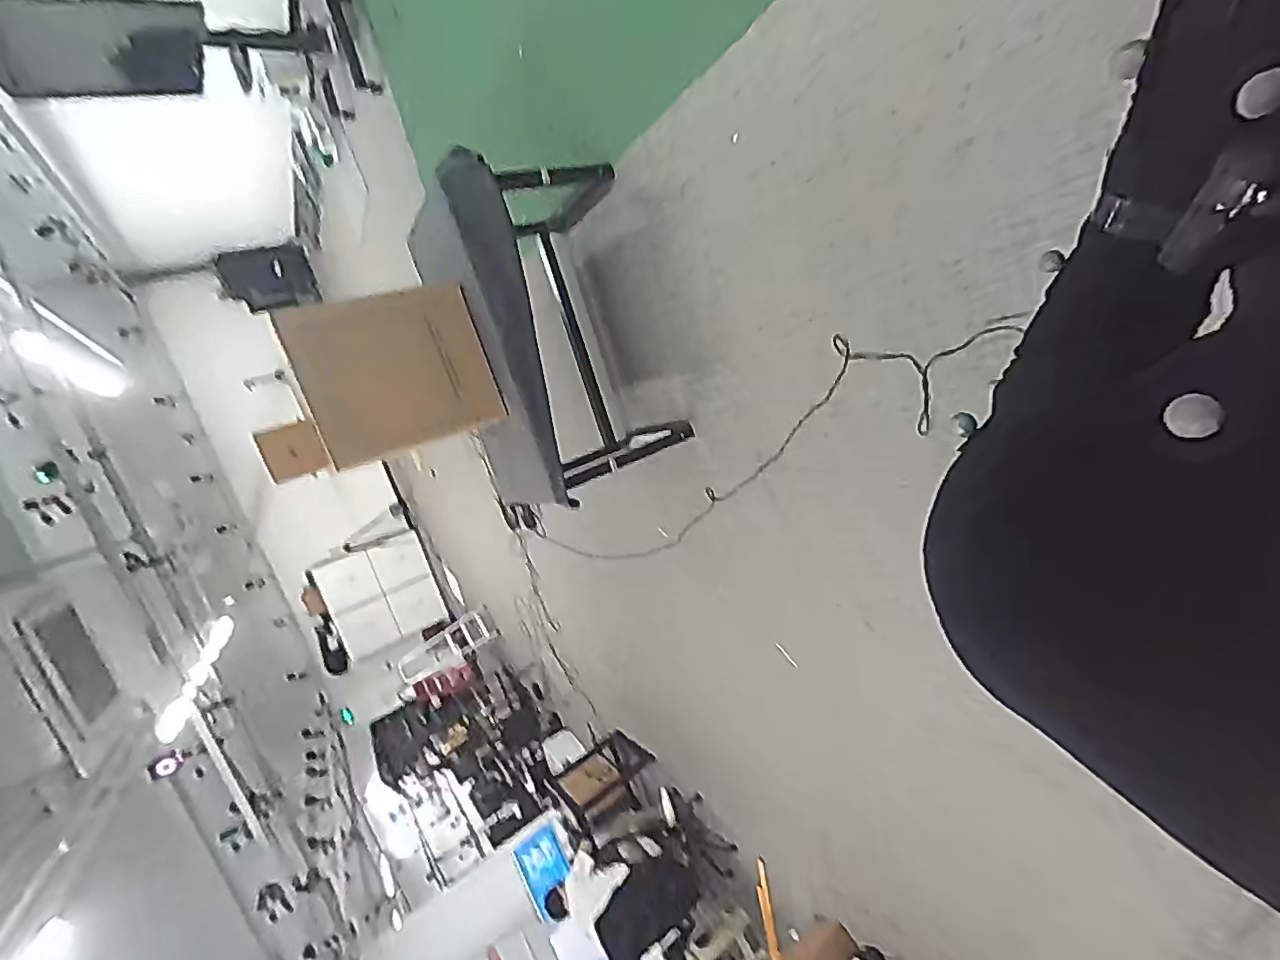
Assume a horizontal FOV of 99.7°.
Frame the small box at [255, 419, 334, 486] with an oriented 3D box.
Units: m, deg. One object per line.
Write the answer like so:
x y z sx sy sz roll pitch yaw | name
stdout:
-1.142 -0.095 1.788 0.168 0.176 0.179 -10 102 56 | small box
